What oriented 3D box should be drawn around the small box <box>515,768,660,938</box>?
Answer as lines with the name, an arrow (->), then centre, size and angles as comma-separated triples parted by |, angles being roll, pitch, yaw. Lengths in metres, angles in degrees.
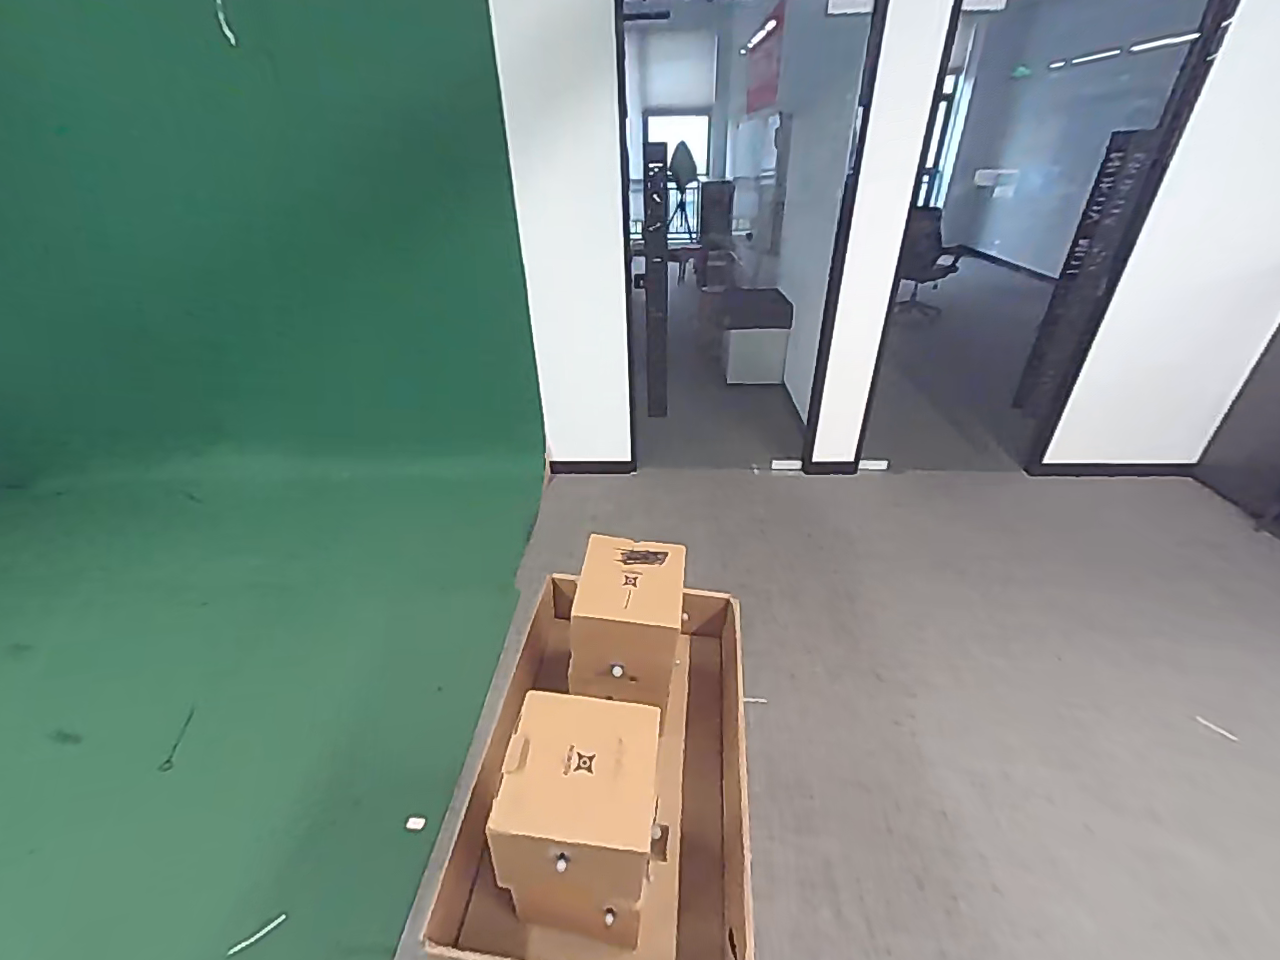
small box -> -0.074, 0.520, 0.779 | 0.179, 0.176, 0.168 | 9, 36, 5

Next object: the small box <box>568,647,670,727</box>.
small box -> -0.029, 0.343, 1.013 | 0.179, 0.176, 0.168 | 7, 39, 4

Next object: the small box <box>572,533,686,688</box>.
small box -> -0.018, 0.217, 0.909 | 0.168, 0.176, 0.179 | 7, 39, 3

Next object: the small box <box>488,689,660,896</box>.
small box -> -0.074, 0.392, 0.680 | 0.179, 0.176, 0.168 | 7, 37, 1
